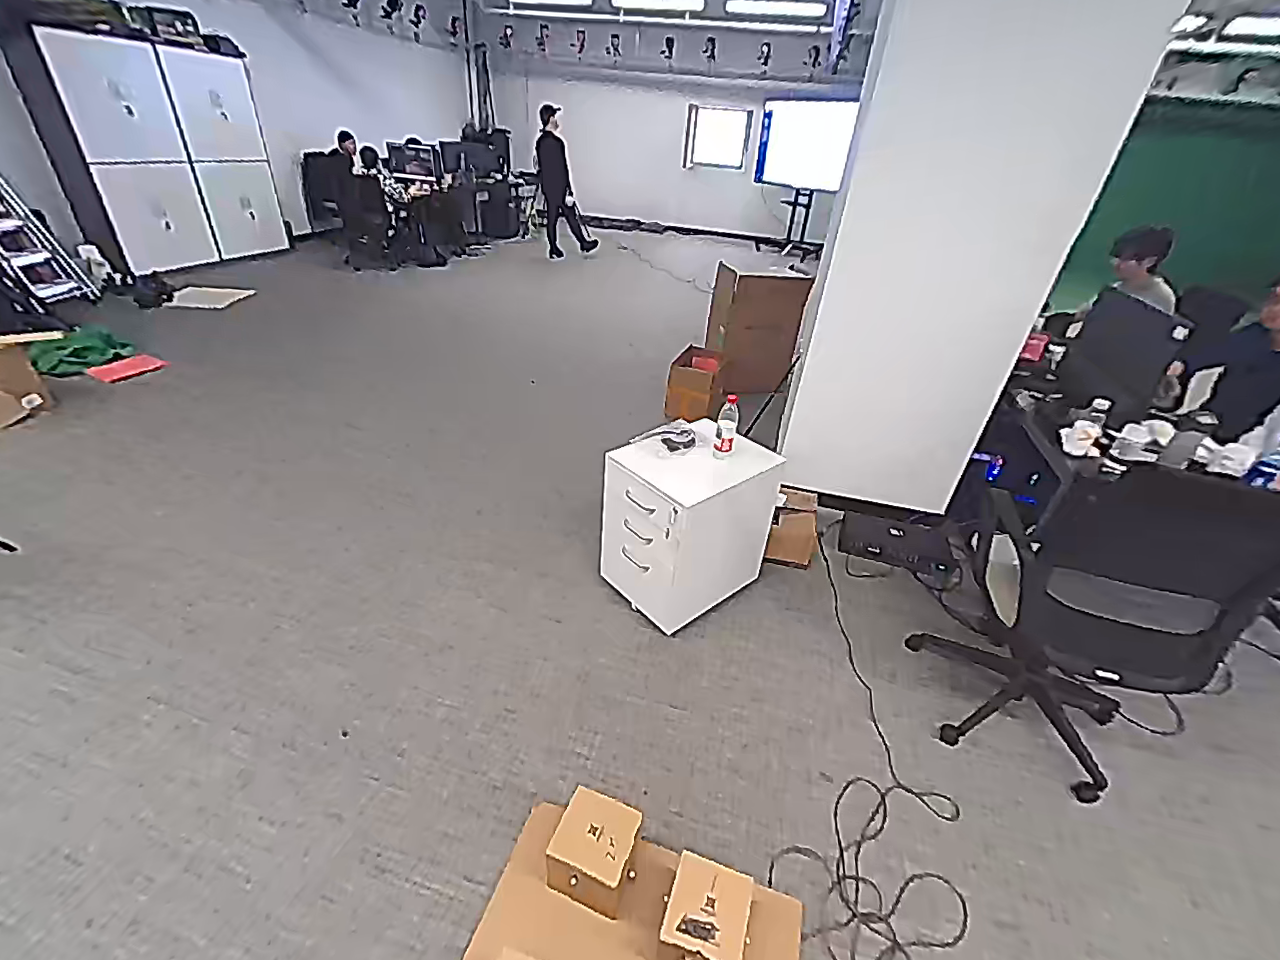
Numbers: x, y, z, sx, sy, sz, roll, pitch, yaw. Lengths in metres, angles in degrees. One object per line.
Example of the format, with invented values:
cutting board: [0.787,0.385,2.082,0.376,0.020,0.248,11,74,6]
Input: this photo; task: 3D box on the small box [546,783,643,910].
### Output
small box: [-0.107,0.872,1.285,0.179,0.176,0.168,16,35,17]

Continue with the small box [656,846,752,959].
small box: [0.138,0.961,1.182,0.168,0.176,0.179,13,33,16]
